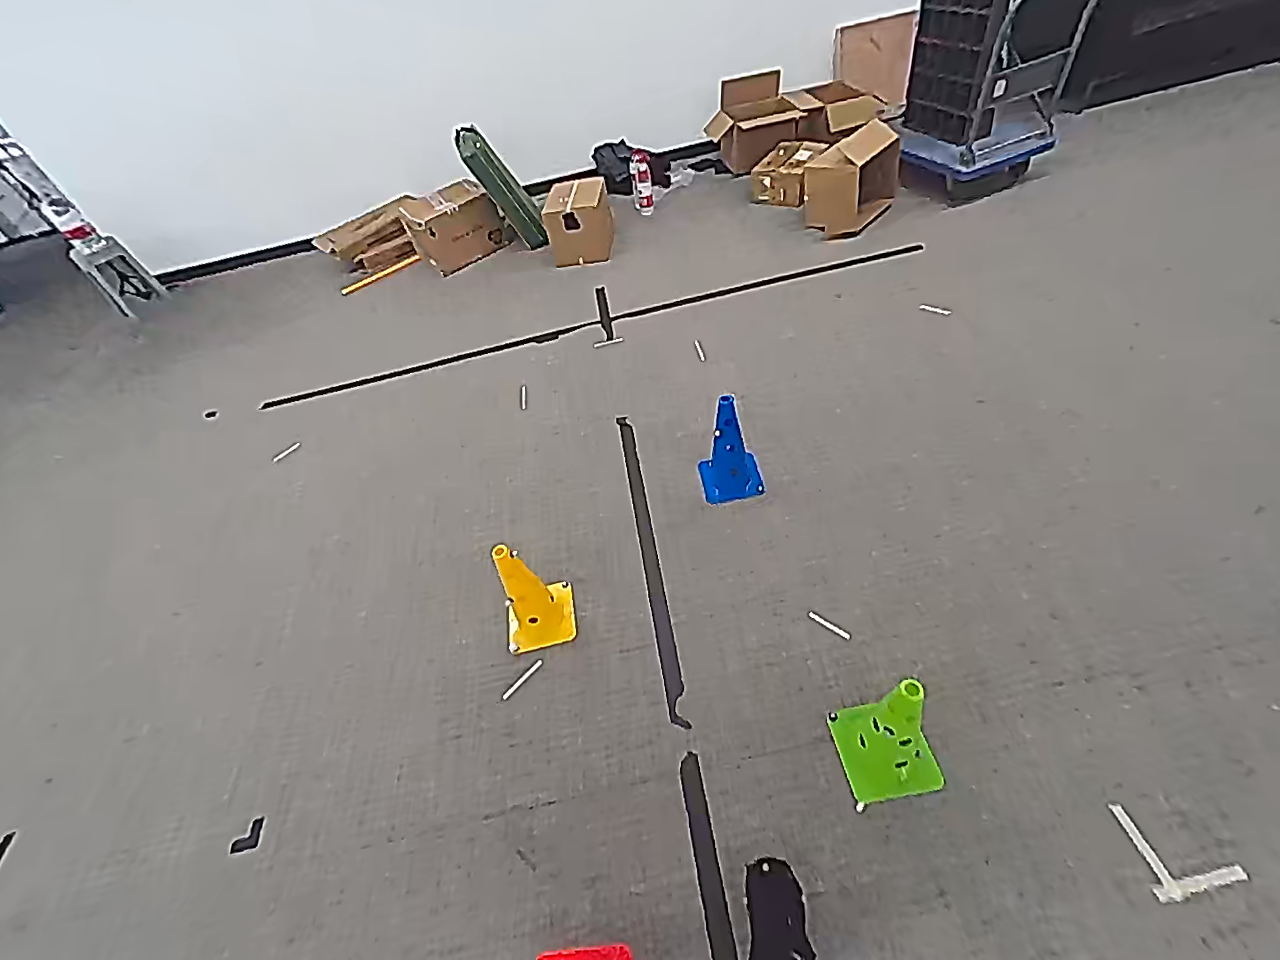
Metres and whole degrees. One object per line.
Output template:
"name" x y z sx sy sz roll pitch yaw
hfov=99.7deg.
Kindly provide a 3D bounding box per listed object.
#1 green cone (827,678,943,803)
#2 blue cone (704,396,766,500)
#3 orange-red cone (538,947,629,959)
"green cone" 0.532 0.505 1.117 0.202 0.368 0.200 -11 47 1
"blue cone" 0.298 -0.117 1.753 0.192 0.380 0.193 -9 47 3
"orange-red cone" -0.144 0.908 0.908 0.199 0.360 0.198 -10 46 5
